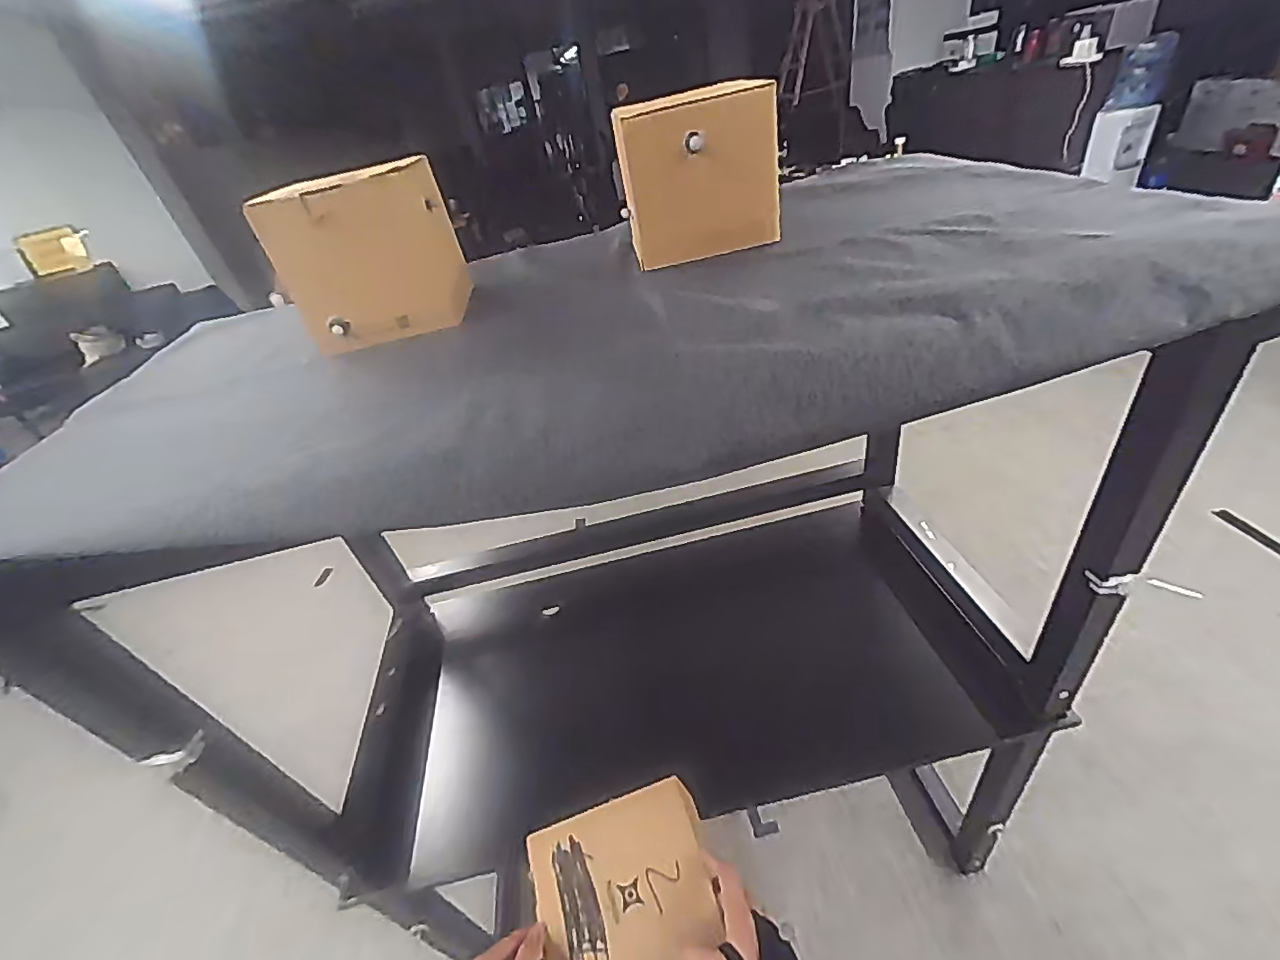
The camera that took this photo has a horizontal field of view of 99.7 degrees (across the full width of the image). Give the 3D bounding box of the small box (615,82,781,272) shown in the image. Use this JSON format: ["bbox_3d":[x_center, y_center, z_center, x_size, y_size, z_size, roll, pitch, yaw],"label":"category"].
[{"bbox_3d":[0.073,-0.386,0.690,0.179,0.176,0.168,-12,36,3],"label":"small box"}]

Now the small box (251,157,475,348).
[{"bbox_3d":[-0.316,-0.276,0.665,0.168,0.176,0.179,-14,35,0],"label":"small box"}]
